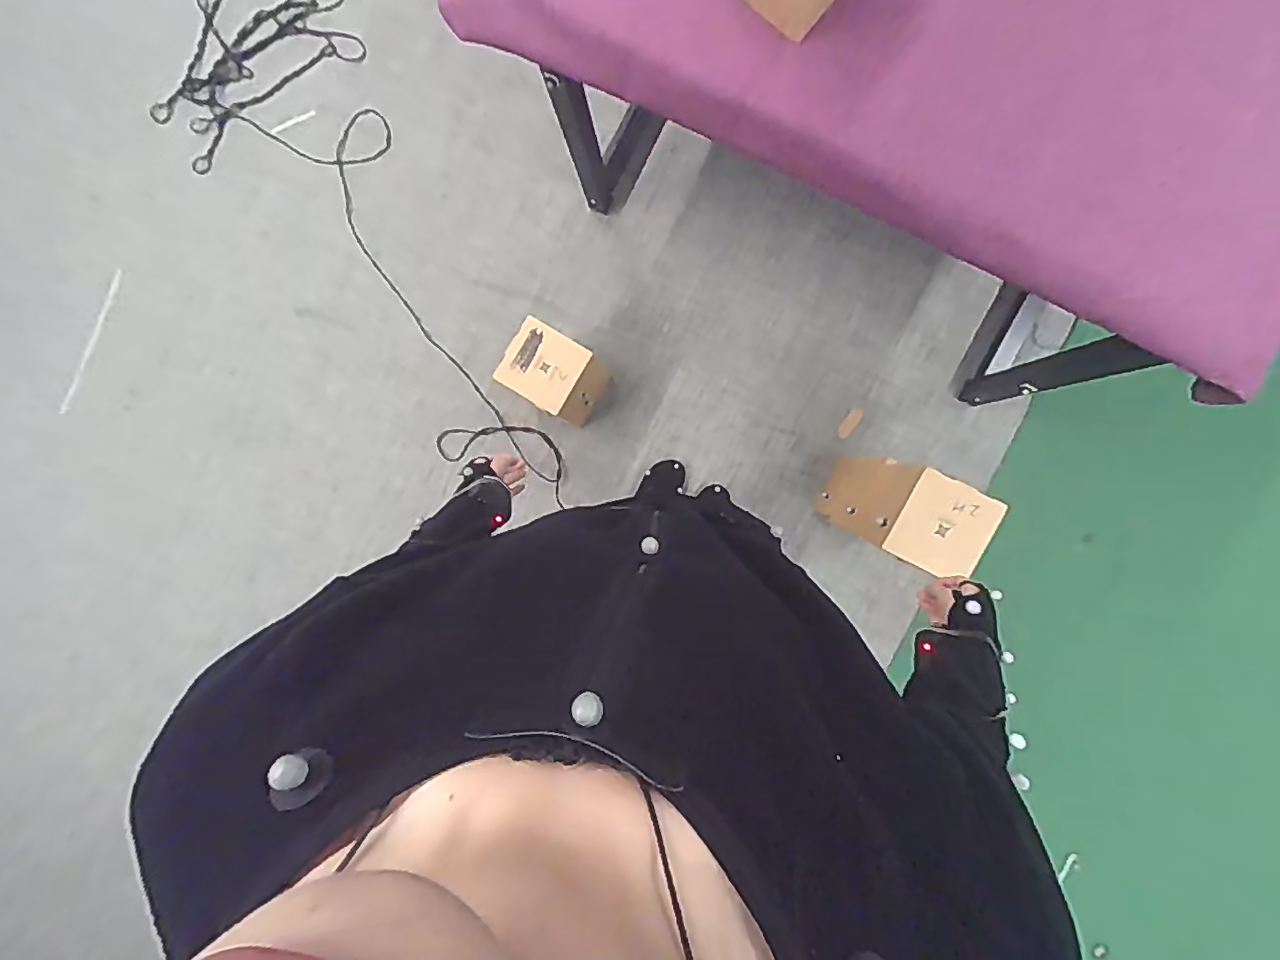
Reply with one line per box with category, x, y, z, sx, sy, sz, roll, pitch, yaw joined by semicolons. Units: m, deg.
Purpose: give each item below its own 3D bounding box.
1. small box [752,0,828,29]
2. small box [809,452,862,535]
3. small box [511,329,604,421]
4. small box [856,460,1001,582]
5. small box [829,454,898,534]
small box;0.200;-0.732;0.673;0.179;0.176;0.168;41;94;1
small box;0.565;0.043;1.398;0.179;0.176;0.168;29;94;2
small box;-0.210;-0.269;1.441;0.168;0.176;0.179;31;94;2
small box;0.555;0.074;1.073;0.168;0.176;0.179;27;94;2
small box;0.558;0.052;1.237;0.168;0.176;0.179;26;95;3
